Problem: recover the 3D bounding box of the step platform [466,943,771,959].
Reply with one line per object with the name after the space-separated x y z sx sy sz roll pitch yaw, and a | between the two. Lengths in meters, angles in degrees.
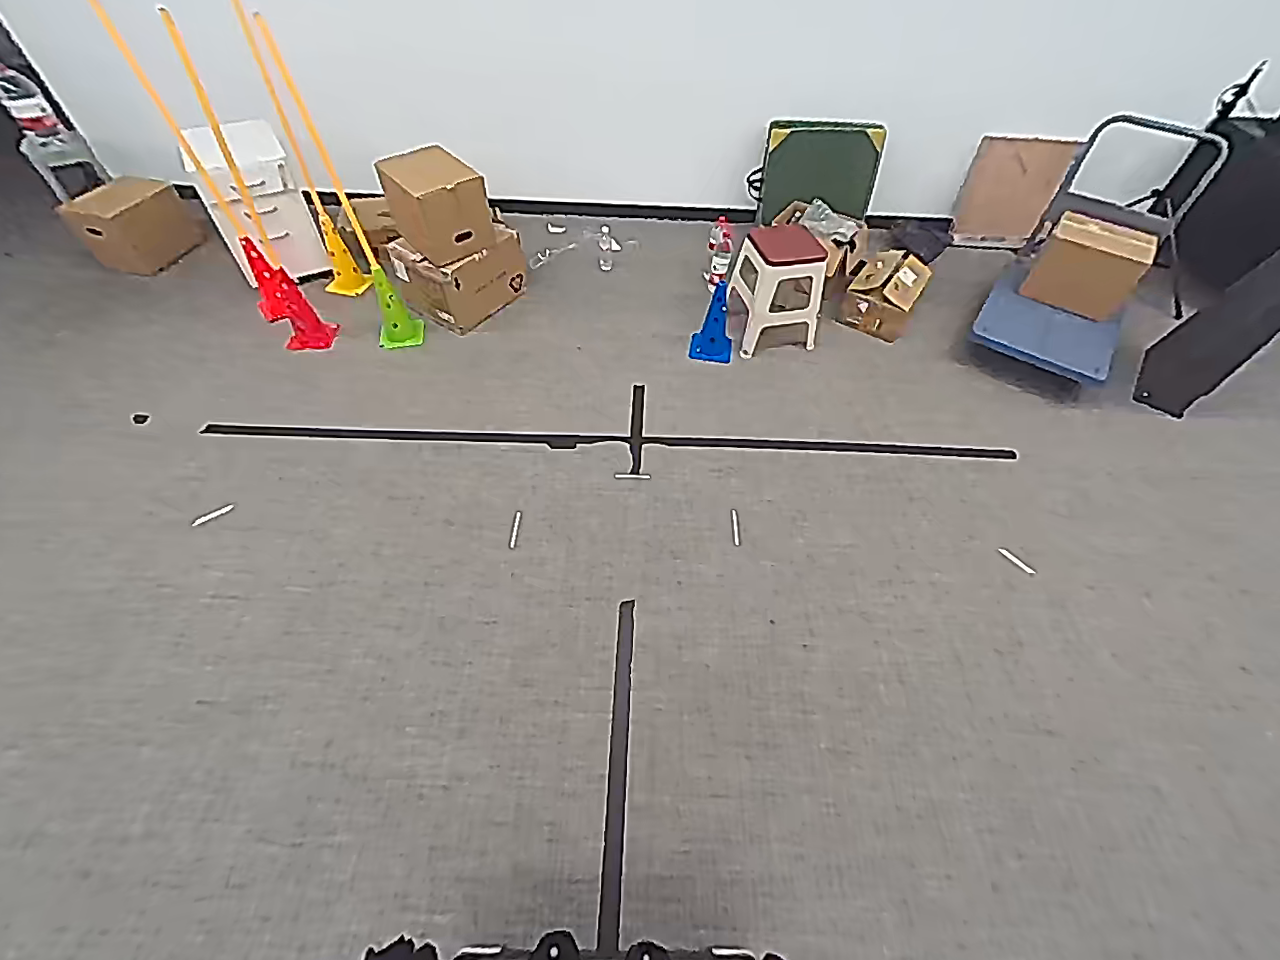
-0.044 1.132 1.099 0.684 0.204 0.286 2 51 -2 | step platform
